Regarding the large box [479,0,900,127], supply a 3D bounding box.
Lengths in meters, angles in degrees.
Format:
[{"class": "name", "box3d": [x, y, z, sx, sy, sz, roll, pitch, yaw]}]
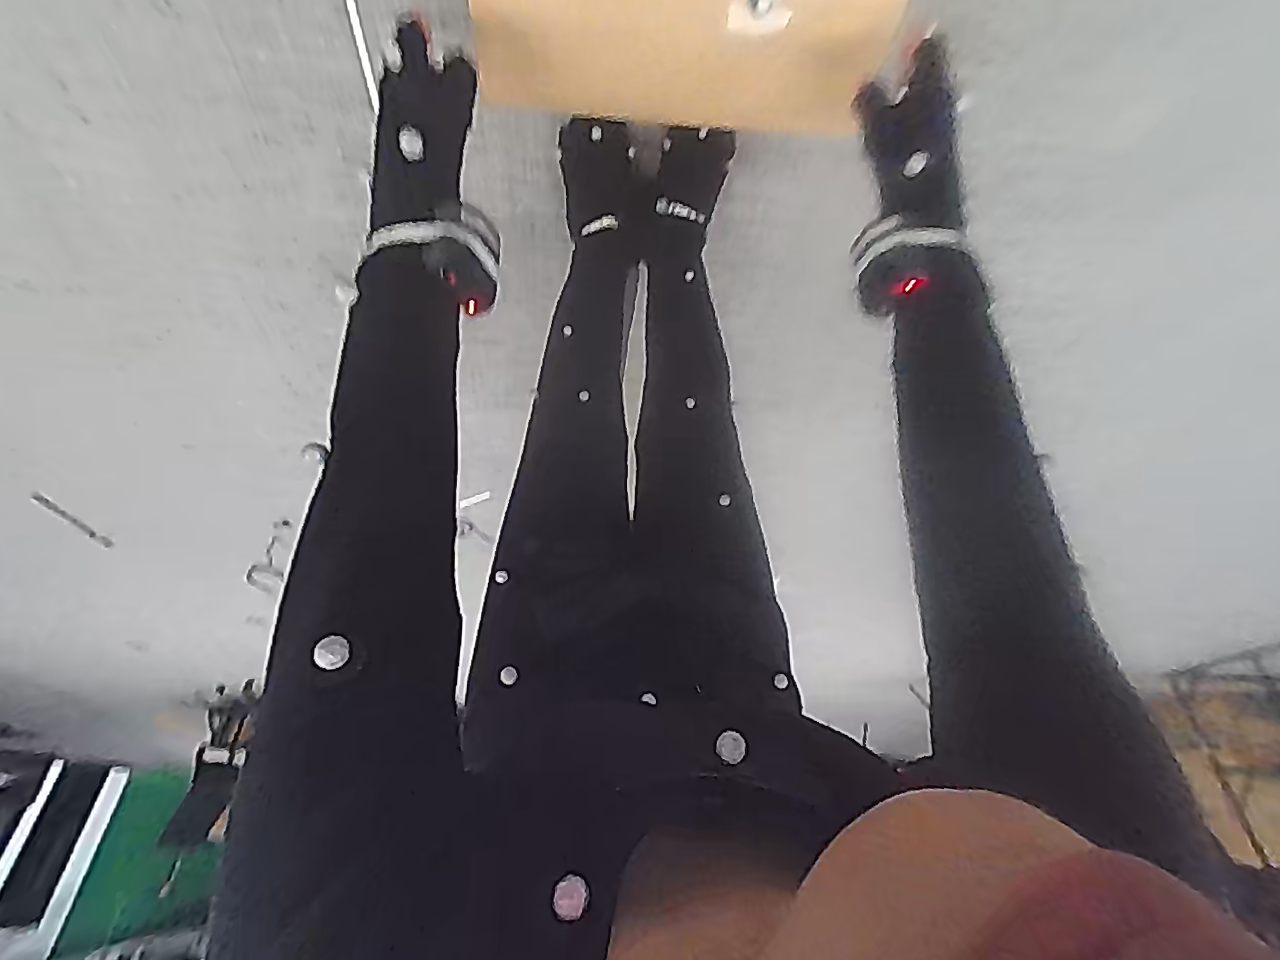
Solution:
[{"class": "large box", "box3d": [0.046, -0.602, 0.543, 0.408, 0.320, 0.320, 1, 147, -5]}]
